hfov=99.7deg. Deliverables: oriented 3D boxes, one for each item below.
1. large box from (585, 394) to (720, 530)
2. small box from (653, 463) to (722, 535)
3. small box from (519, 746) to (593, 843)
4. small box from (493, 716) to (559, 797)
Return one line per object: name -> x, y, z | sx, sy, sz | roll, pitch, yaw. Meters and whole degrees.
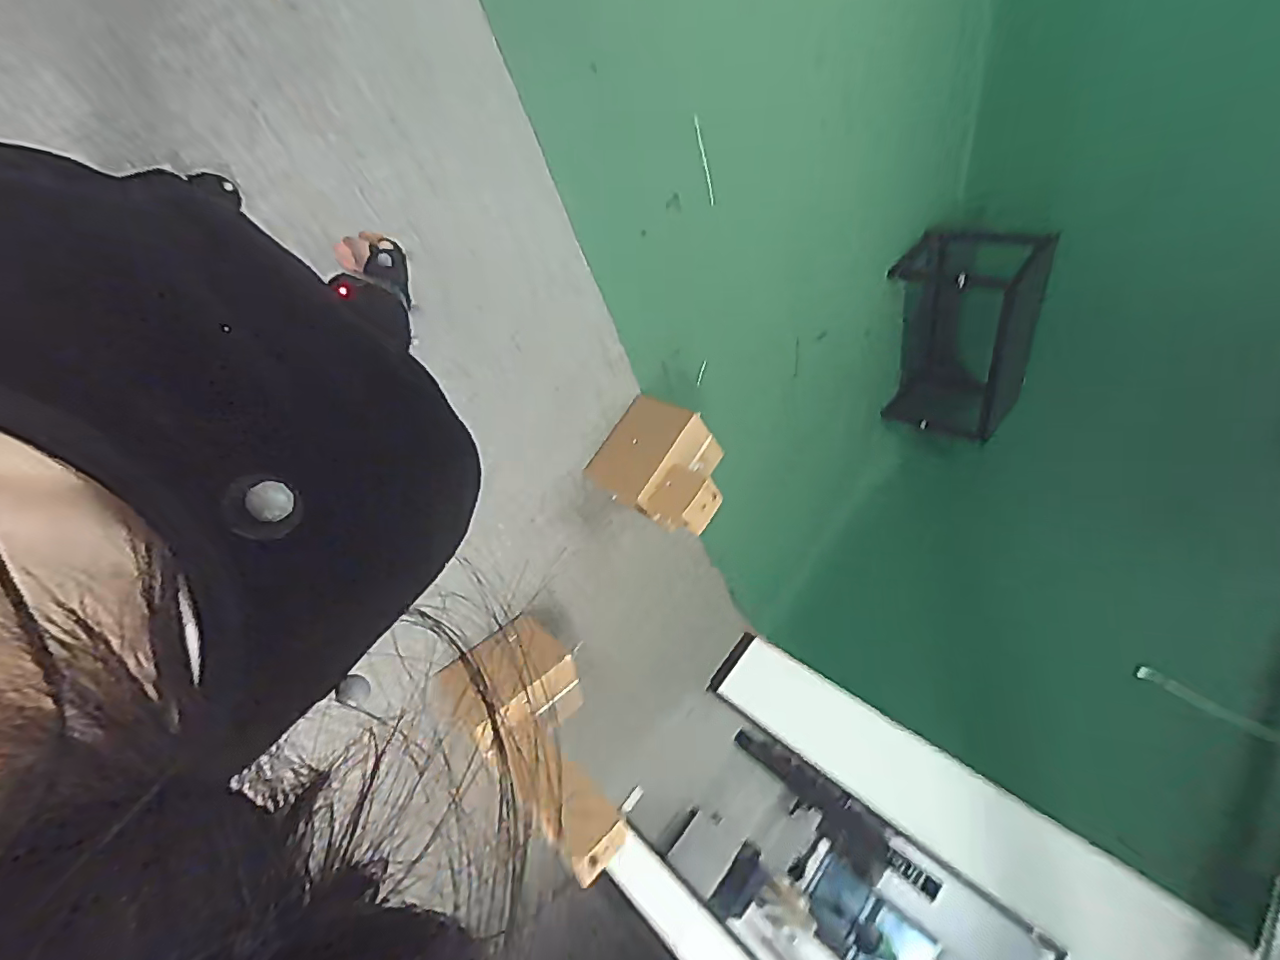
large box -> 0.052, -0.076, 2.185 | 0.408, 0.320, 0.320 | -57, 141, -10
small box -> 0.169, 0.068, 2.001 | 0.179, 0.176, 0.168 | -53, 139, -13
small box -> -0.279, 1.024, 1.771 | 0.179, 0.176, 0.168 | -31, 132, -35
small box -> -0.386, 0.962, 1.877 | 0.168, 0.176, 0.179 | -32, 132, -33
